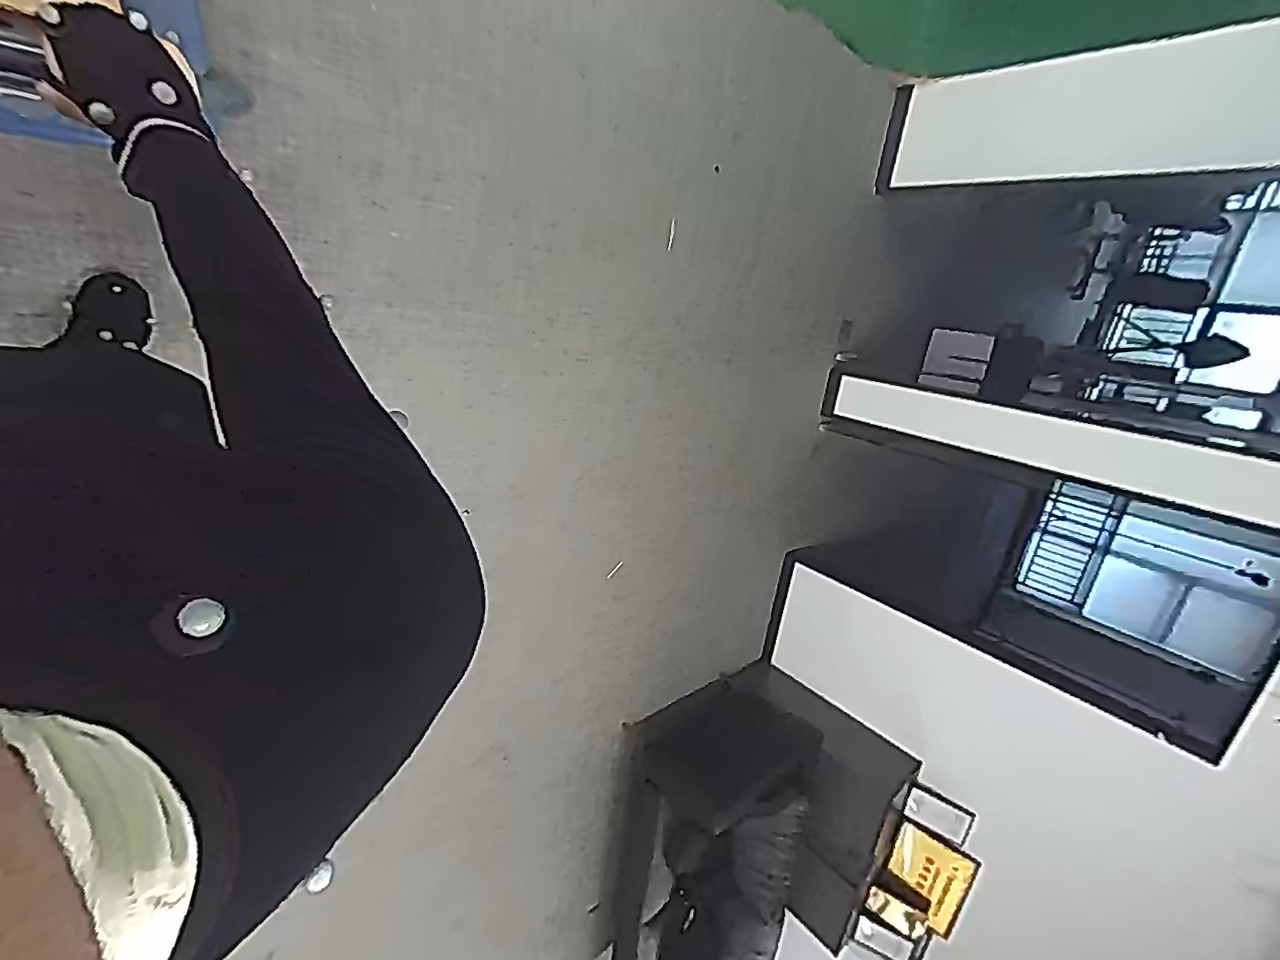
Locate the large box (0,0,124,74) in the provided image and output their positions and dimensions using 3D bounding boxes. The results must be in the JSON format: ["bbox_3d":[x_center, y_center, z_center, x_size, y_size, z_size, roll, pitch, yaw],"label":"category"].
[{"bbox_3d":[-0.894,-0.804,0.662,0.320,0.320,0.408,-13,117,-40],"label":"large box"}]
